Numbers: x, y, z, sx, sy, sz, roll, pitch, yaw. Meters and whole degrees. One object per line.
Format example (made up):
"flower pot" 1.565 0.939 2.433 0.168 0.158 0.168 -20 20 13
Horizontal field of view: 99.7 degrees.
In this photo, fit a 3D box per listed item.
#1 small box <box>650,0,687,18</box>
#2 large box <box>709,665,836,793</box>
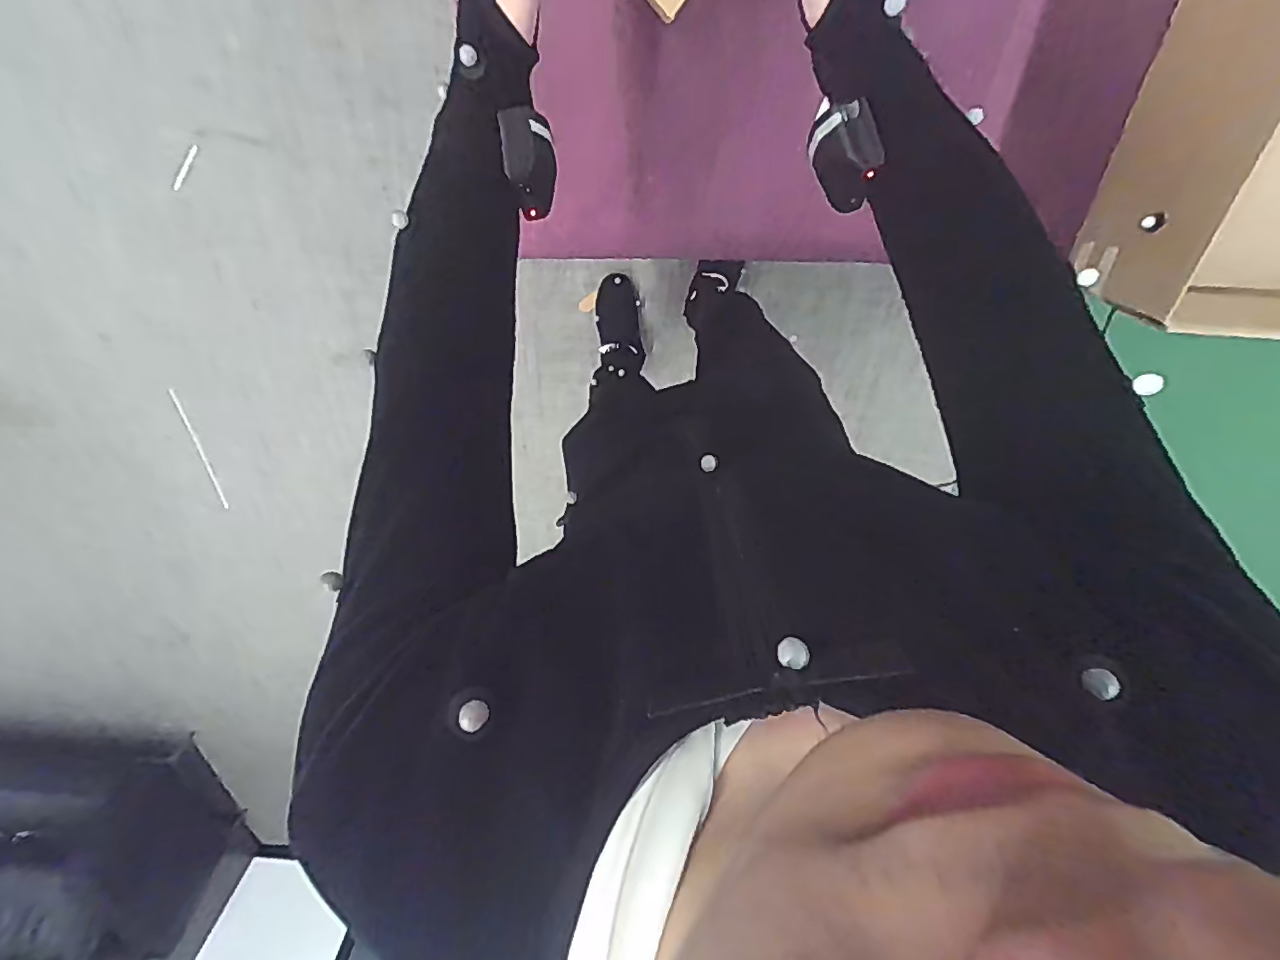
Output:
"small box" 0.017 -0.531 0.440 0.179 0.176 0.168 35 122 -24
"large box" 0.539 1.037 2.255 0.408 0.320 0.320 -24 119 17
